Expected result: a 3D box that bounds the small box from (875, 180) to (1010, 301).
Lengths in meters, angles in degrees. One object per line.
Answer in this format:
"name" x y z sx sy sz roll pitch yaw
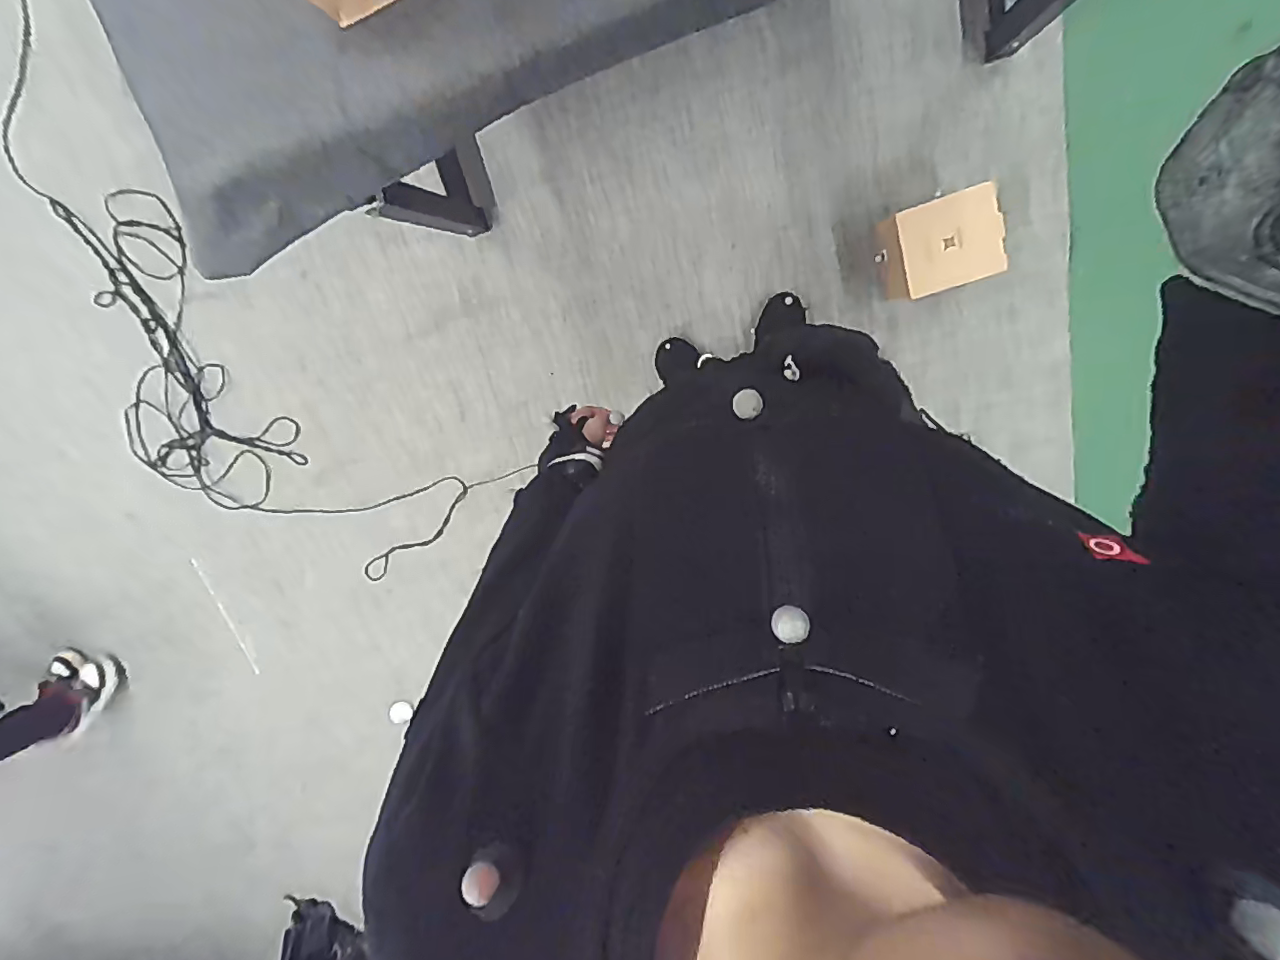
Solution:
"small box" 0.596 -0.469 1.083 0.179 0.176 0.168 -16 103 14
